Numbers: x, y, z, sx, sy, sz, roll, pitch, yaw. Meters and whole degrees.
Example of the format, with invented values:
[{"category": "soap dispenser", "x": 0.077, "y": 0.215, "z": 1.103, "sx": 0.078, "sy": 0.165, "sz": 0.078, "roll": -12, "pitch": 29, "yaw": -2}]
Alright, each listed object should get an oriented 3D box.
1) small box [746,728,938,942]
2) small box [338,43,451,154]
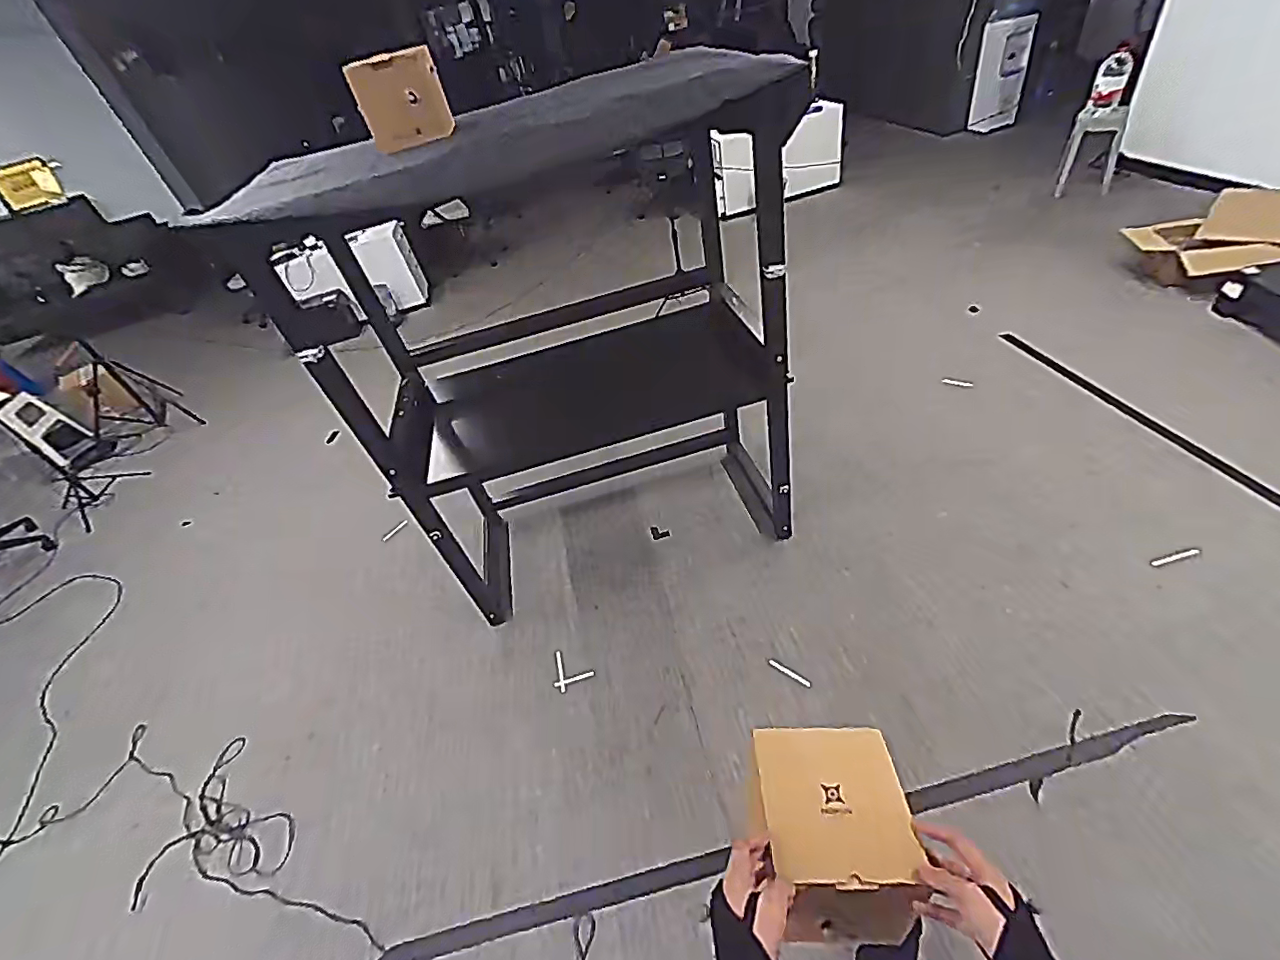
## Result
[{"category": "small box", "x": 0.230, "y": 0.436, "z": 0.673, "sx": 0.168, "sy": 0.176, "sz": 0.179, "roll": -2, "pitch": 35, "yaw": 2}, {"category": "small box", "x": -0.552, "y": -0.872, "z": 1.243, "sx": 0.168, "sy": 0.176, "sz": 0.179, "roll": -14, "pitch": 43, "yaw": 0}]
